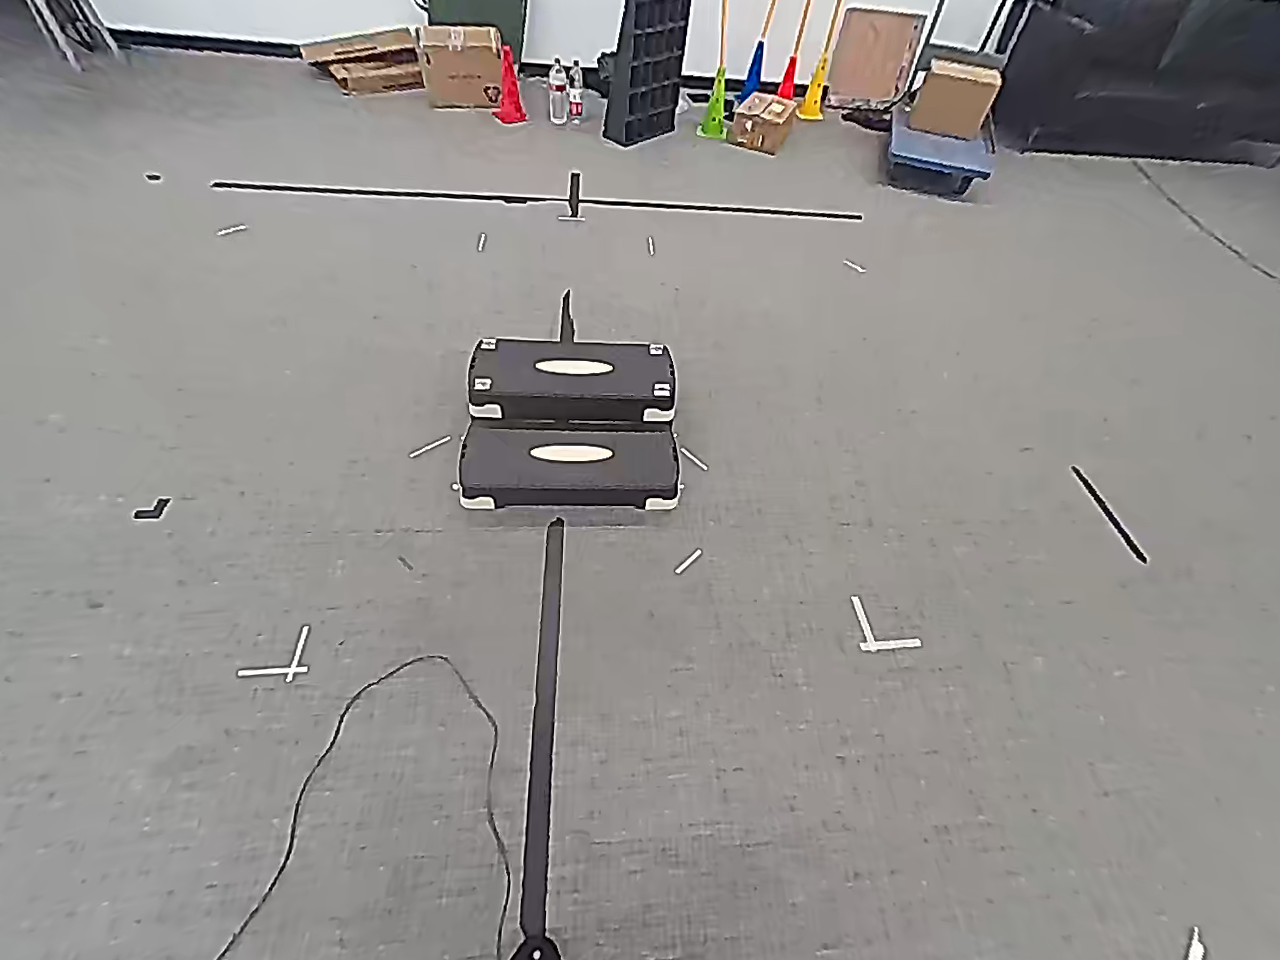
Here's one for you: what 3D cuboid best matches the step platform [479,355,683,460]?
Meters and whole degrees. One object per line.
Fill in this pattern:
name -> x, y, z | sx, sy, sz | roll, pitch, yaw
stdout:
step platform -> -0.194, -0.251, 1.848 | 0.684, 0.204, 0.286 | 4, 50, -3
